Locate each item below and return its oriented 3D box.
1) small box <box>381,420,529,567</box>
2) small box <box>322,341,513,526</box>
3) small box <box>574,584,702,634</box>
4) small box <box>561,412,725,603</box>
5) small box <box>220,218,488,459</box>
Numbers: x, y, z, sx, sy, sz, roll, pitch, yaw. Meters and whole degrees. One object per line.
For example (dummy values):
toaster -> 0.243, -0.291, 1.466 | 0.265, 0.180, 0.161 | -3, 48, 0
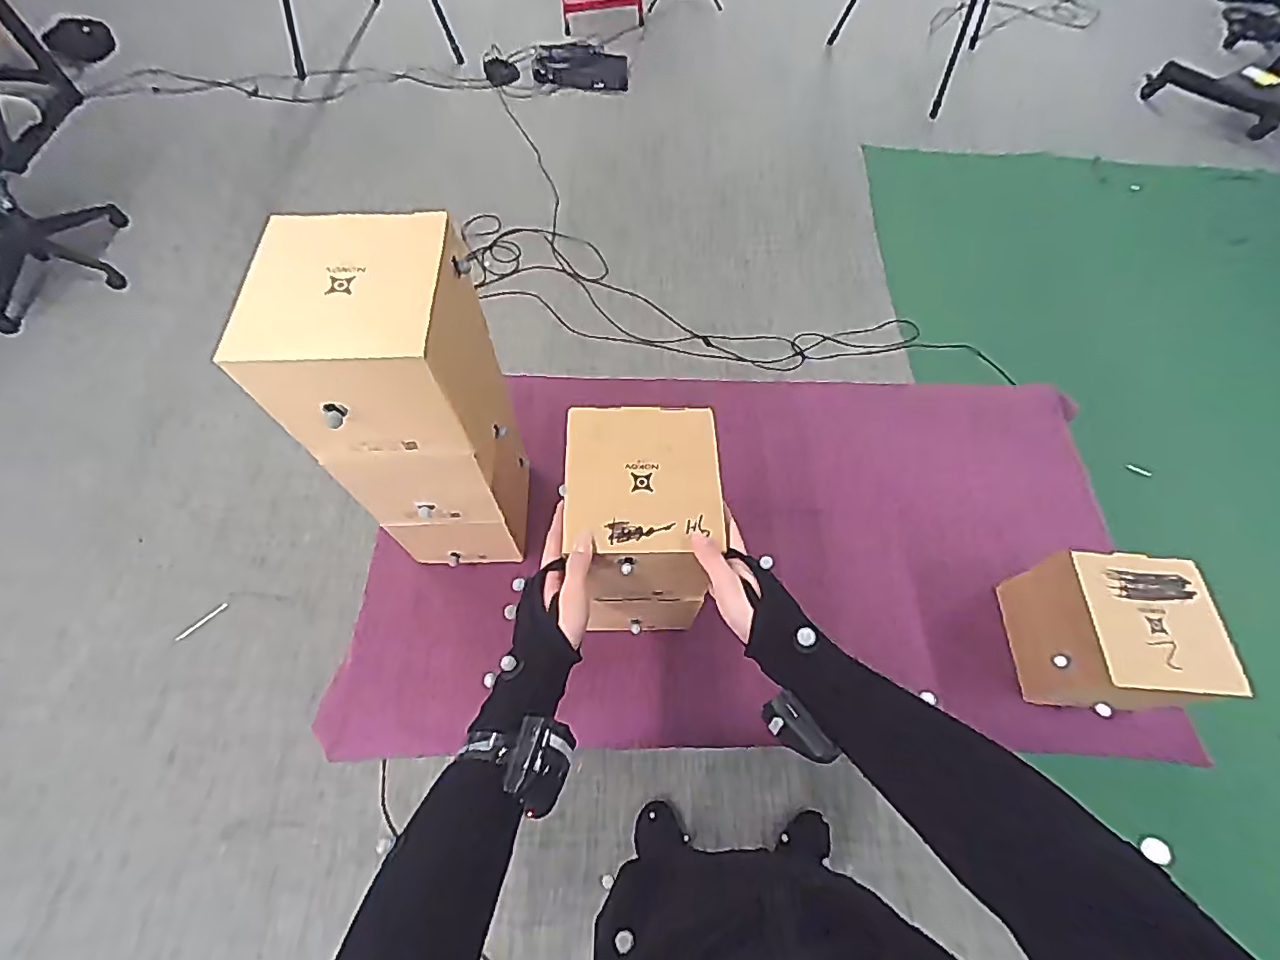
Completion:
small box -> -0.266, 0.023, 0.827 | 0.168, 0.176, 0.179 | -1, 63, -2
small box -> -0.261, -0.054, 0.684 | 0.168, 0.176, 0.179 | -2, 63, -2
small box -> -0.005, 0.116, 0.786 | 0.168, 0.176, 0.179 | 0, 62, -1
small box -> 0.000, 0.038, 0.642 | 0.168, 0.176, 0.179 | 0, 63, -1
small box -> -0.257, -0.129, 0.540 | 0.168, 0.176, 0.179 | -2, 62, -2
